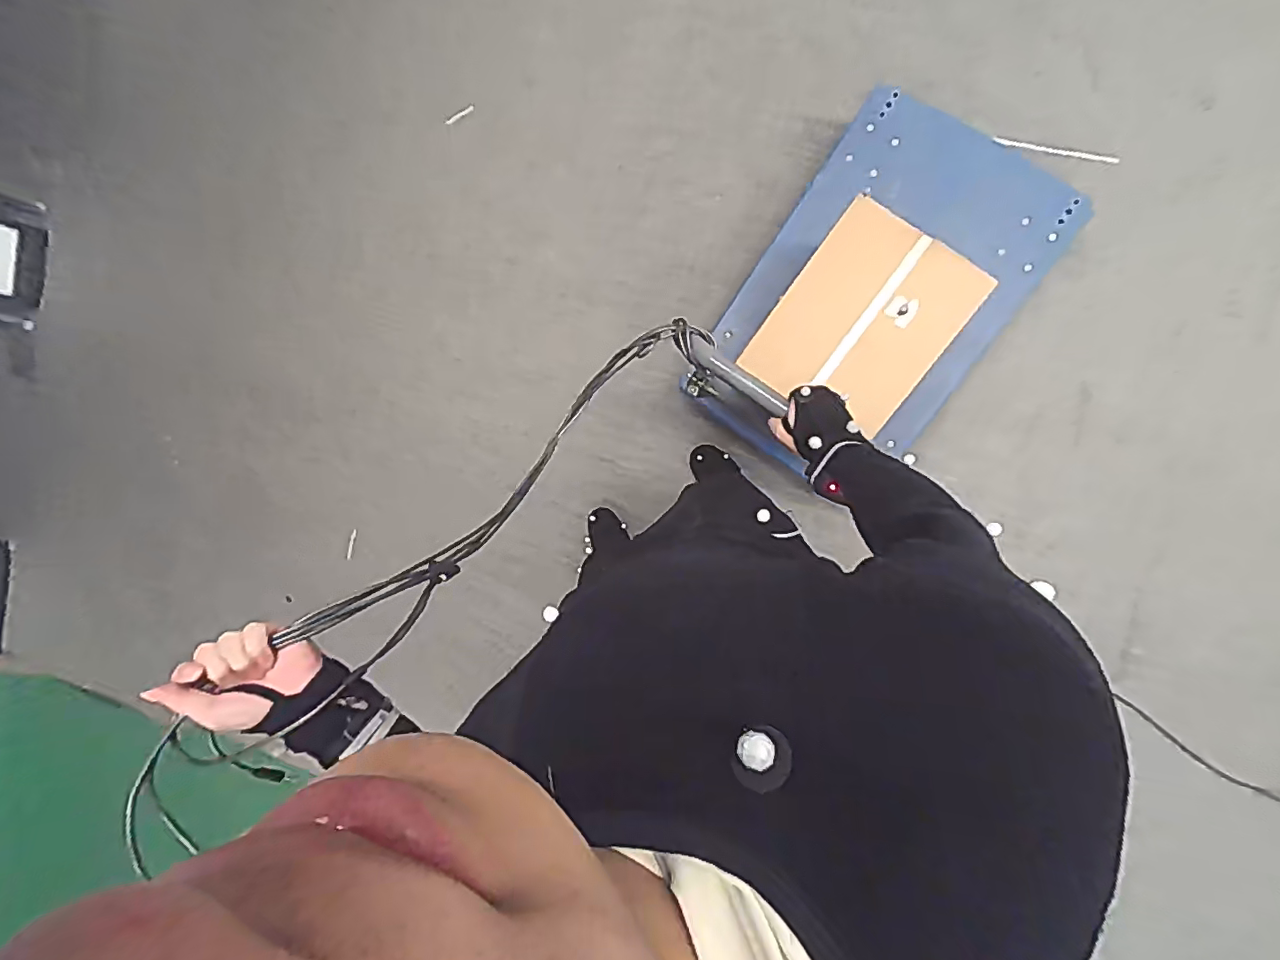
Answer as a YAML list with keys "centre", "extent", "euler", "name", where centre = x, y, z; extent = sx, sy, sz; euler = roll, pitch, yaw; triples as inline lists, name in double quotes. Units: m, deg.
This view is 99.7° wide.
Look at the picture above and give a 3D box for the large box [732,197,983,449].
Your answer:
- centre: [0.445, -0.315, 1.215]
  extent: [0.320, 0.320, 0.408]
  euler: [37, 99, 4]
  name: "large box"
